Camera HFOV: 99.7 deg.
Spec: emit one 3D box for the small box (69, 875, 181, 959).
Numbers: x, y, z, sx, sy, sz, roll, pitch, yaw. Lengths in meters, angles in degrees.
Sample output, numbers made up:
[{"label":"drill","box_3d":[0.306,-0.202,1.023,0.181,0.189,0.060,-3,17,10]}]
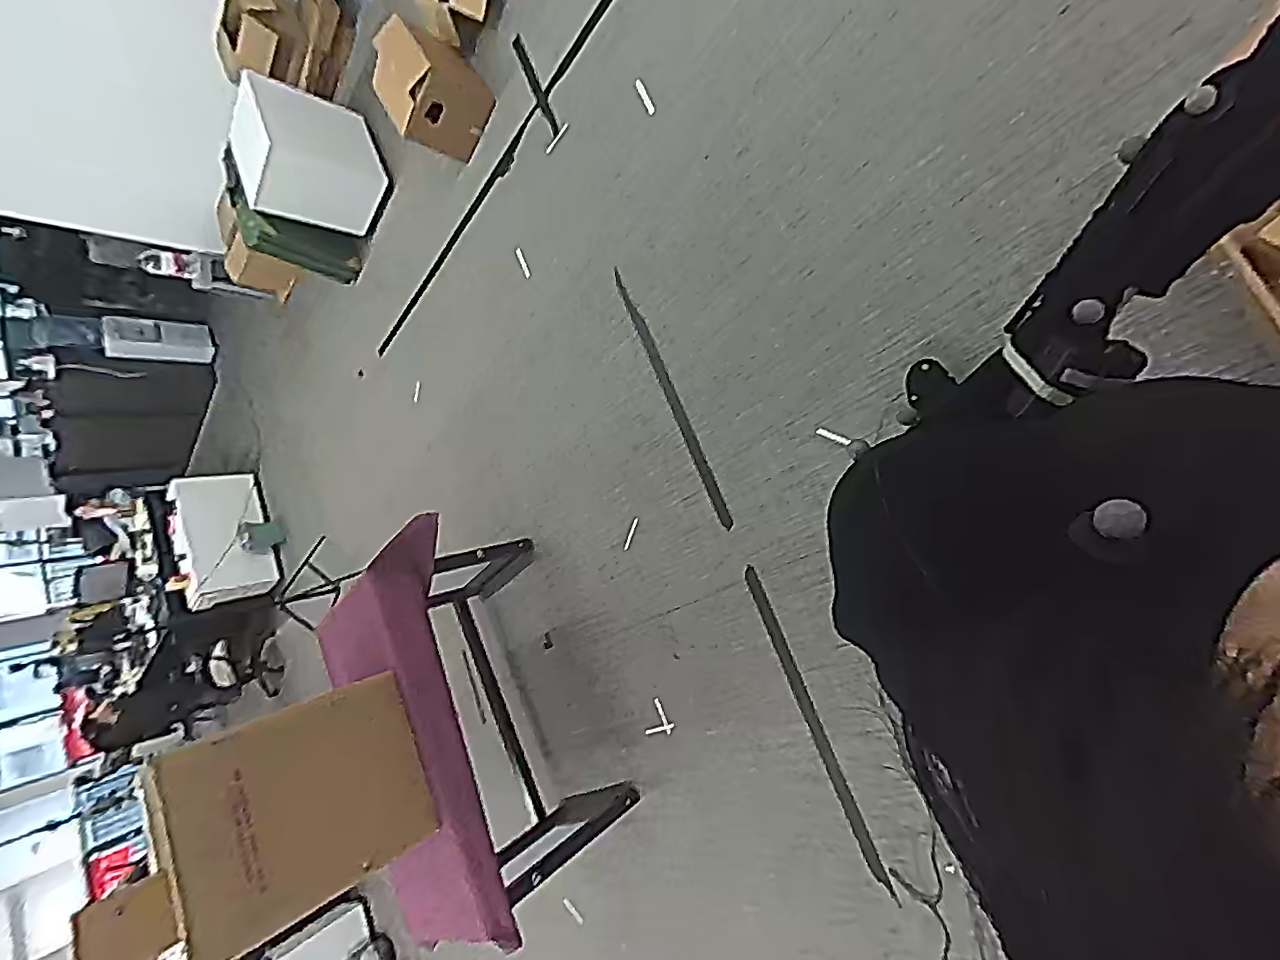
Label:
[{"label":"small box","box_3d":[-1.234,1.084,1.294,0.168,0.176,0.179,-42,69,36]}]
